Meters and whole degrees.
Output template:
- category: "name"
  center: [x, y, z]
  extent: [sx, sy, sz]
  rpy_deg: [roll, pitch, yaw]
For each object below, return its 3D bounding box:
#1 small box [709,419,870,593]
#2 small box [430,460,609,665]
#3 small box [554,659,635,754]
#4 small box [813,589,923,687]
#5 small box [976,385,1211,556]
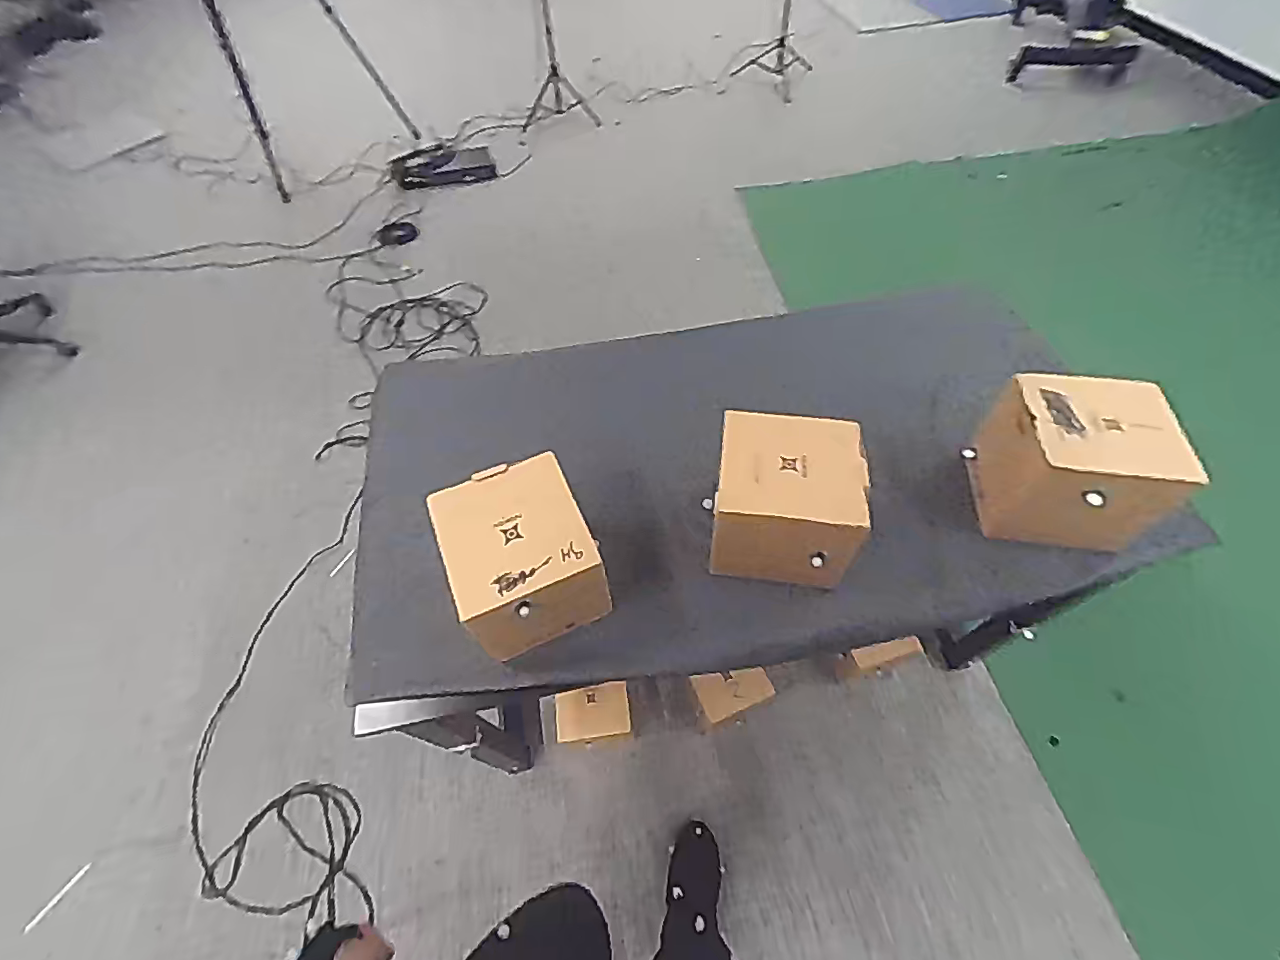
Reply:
- category: "small box"
  center: [0.191, 0.040, 0.730]
  extent: [0.179, 0.176, 0.168]
  rpy_deg: [5, 53, 8]
- category: "small box"
  center: [-0.148, 0.109, 0.699]
  extent: [0.168, 0.176, 0.179]
  rpy_deg: [-22, 58, -11]
- category: "small box"
  center: [-0.105, 0.544, 1.287]
  extent: [0.168, 0.176, 0.179]
  rpy_deg: [-8, 56, -2]
- category: "small box"
  center: [0.556, 0.400, 1.346]
  extent: [0.168, 0.176, 0.179]
  rpy_deg: [-15, 57, -7]
- category: "small box"
  center: [0.587, -0.010, 0.738]
  extent: [0.179, 0.176, 0.168]
  rpy_deg: [5, 54, 10]
